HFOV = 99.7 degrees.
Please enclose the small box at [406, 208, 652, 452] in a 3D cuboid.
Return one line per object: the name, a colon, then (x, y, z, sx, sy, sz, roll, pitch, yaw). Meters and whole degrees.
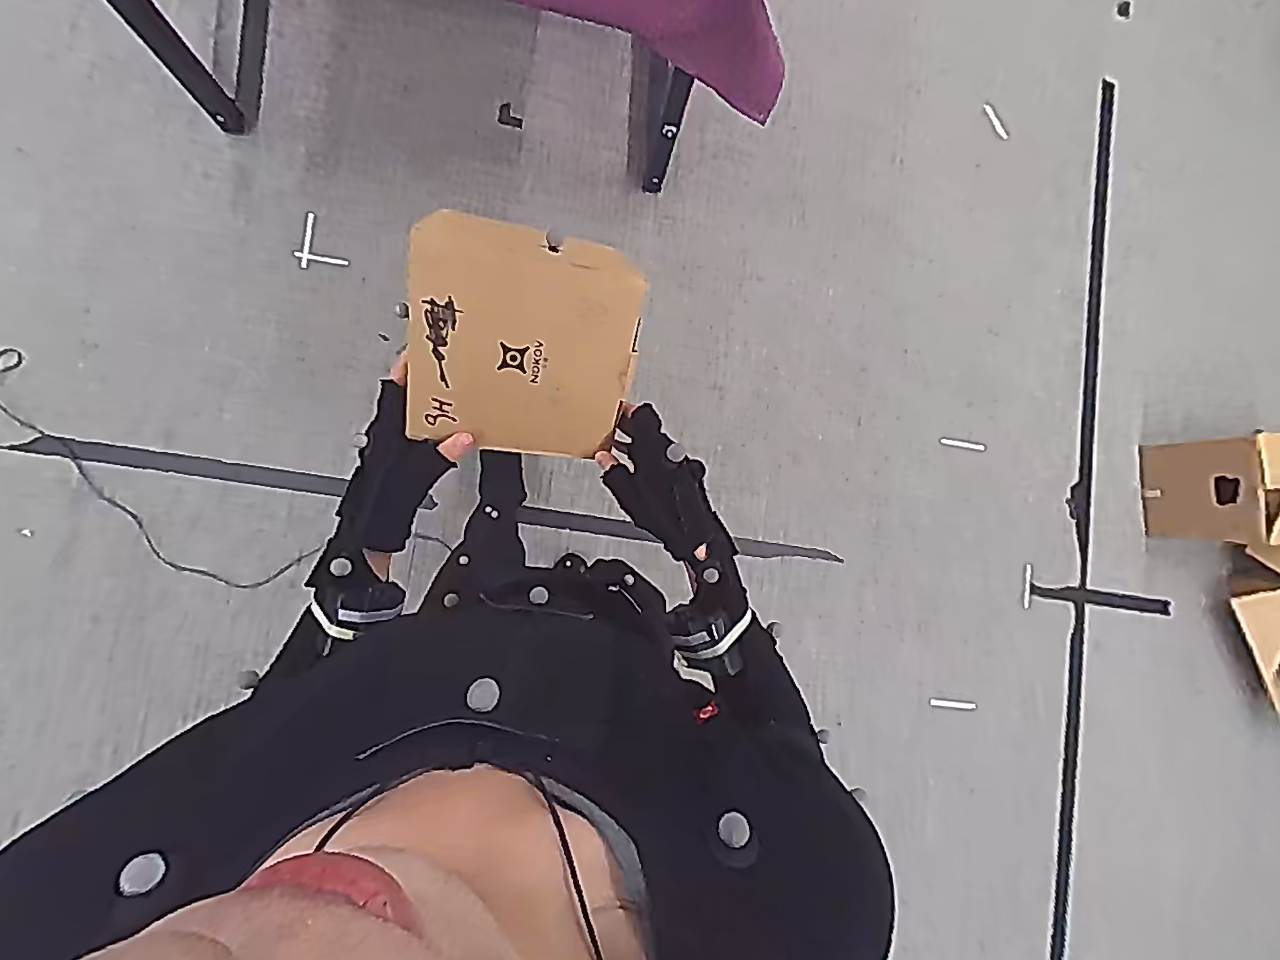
small box: (-0.108, -0.142, 0.497, 0.179, 0.176, 0.168, 6, 117, -17)
